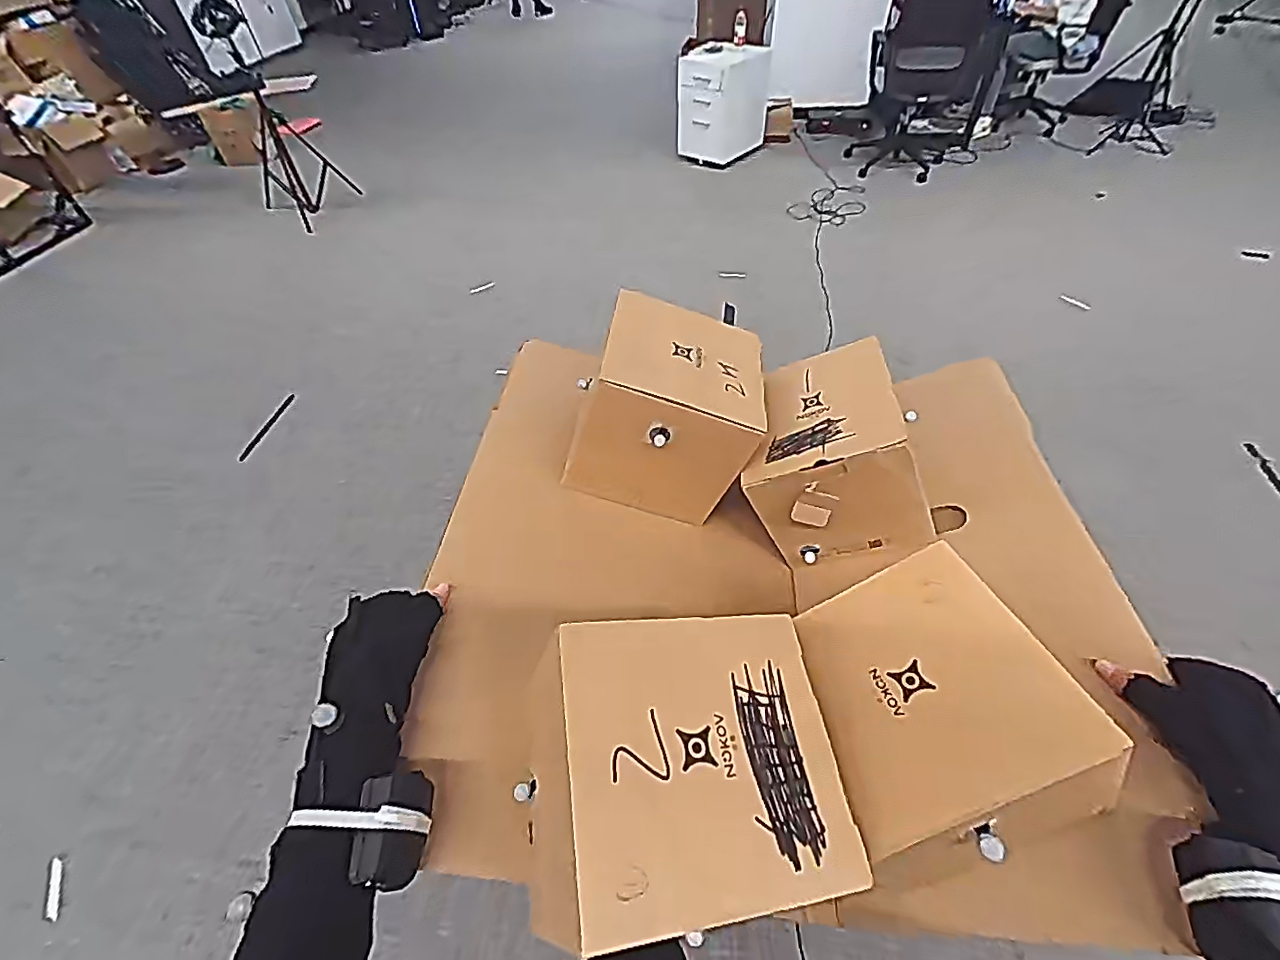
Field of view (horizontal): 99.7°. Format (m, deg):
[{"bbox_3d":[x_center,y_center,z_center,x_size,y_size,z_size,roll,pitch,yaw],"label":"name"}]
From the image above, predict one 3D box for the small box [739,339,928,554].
[{"bbox_3d":[0.227,-0.028,0.643,0.168,0.176,0.179,-16,42,26],"label":"small box"}]
